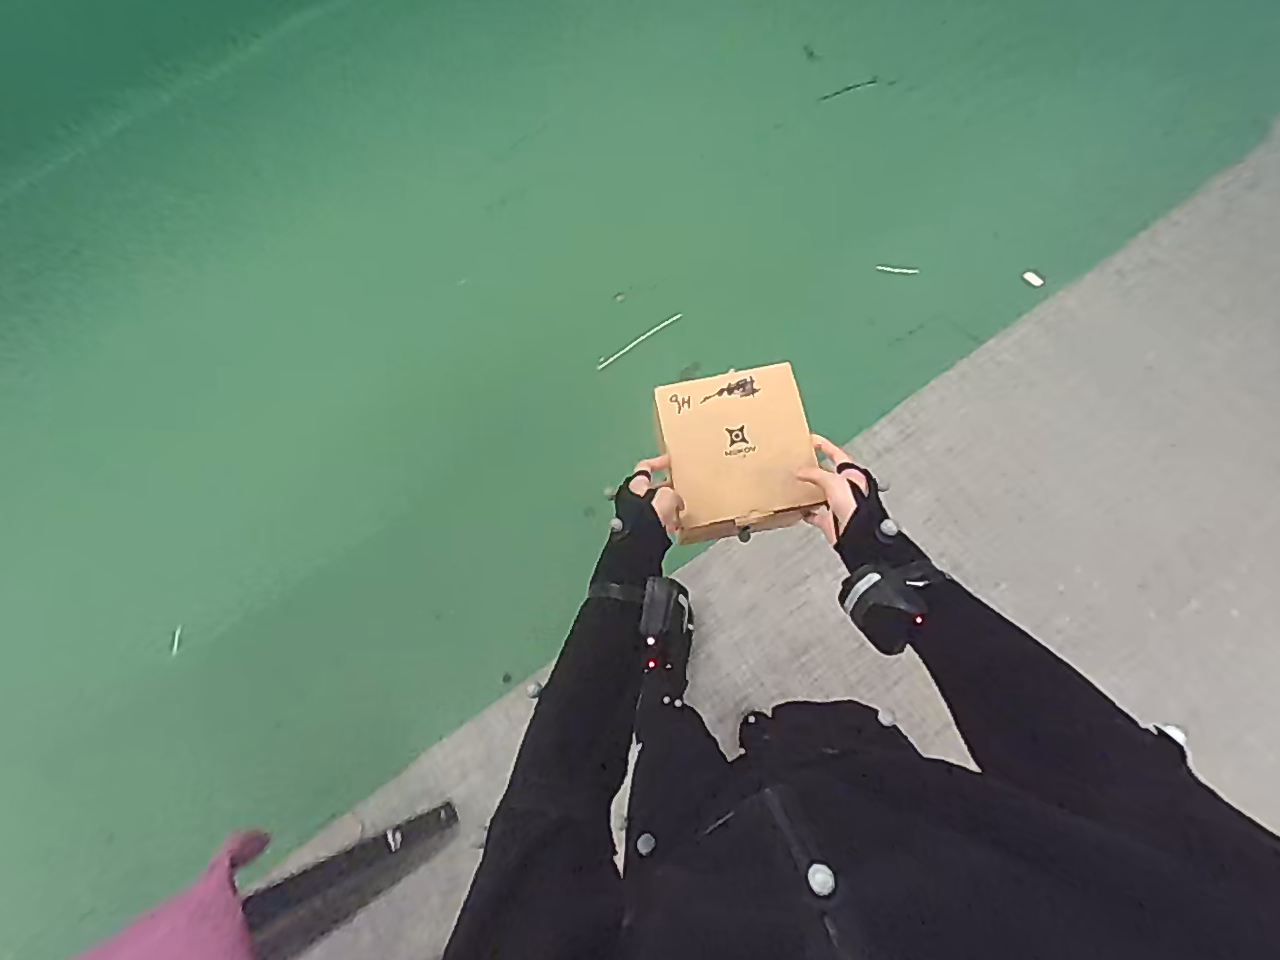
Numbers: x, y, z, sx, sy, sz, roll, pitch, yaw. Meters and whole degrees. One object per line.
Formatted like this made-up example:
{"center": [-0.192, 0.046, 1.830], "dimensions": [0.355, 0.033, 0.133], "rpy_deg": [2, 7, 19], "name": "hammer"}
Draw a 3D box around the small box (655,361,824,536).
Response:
{"center": [0.116, -0.027, 0.692], "dimensions": [0.168, 0.176, 0.179], "rpy_deg": [-10, 78, 0], "name": "small box"}
